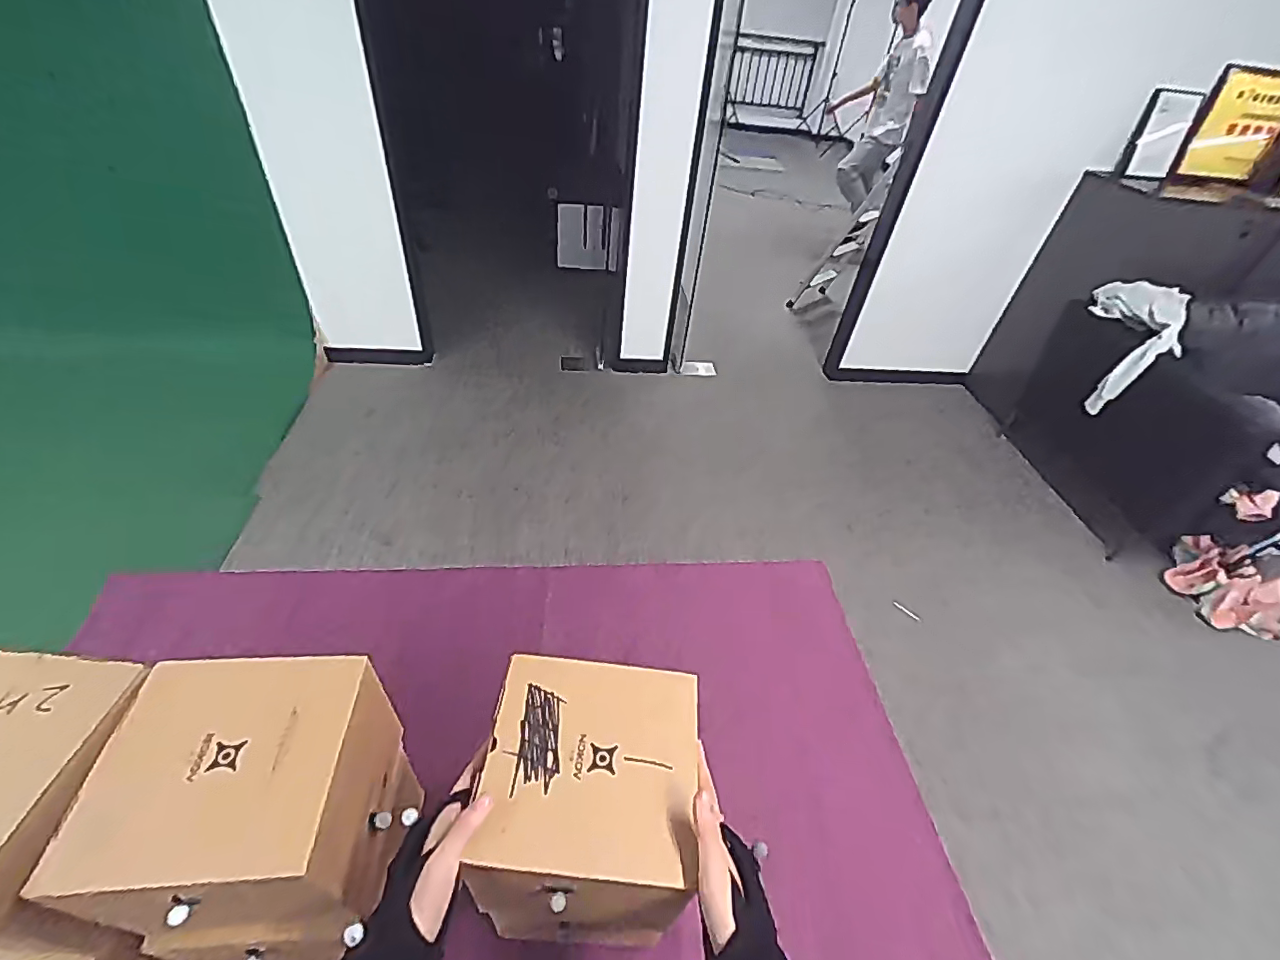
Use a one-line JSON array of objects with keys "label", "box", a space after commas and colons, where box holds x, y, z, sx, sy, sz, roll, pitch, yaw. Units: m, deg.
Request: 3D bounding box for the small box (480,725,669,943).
[{"label": "small box", "box": [-0.064, 0.398, 0.606, 0.179, 0.176, 0.168, 6, 43, -2]}]
